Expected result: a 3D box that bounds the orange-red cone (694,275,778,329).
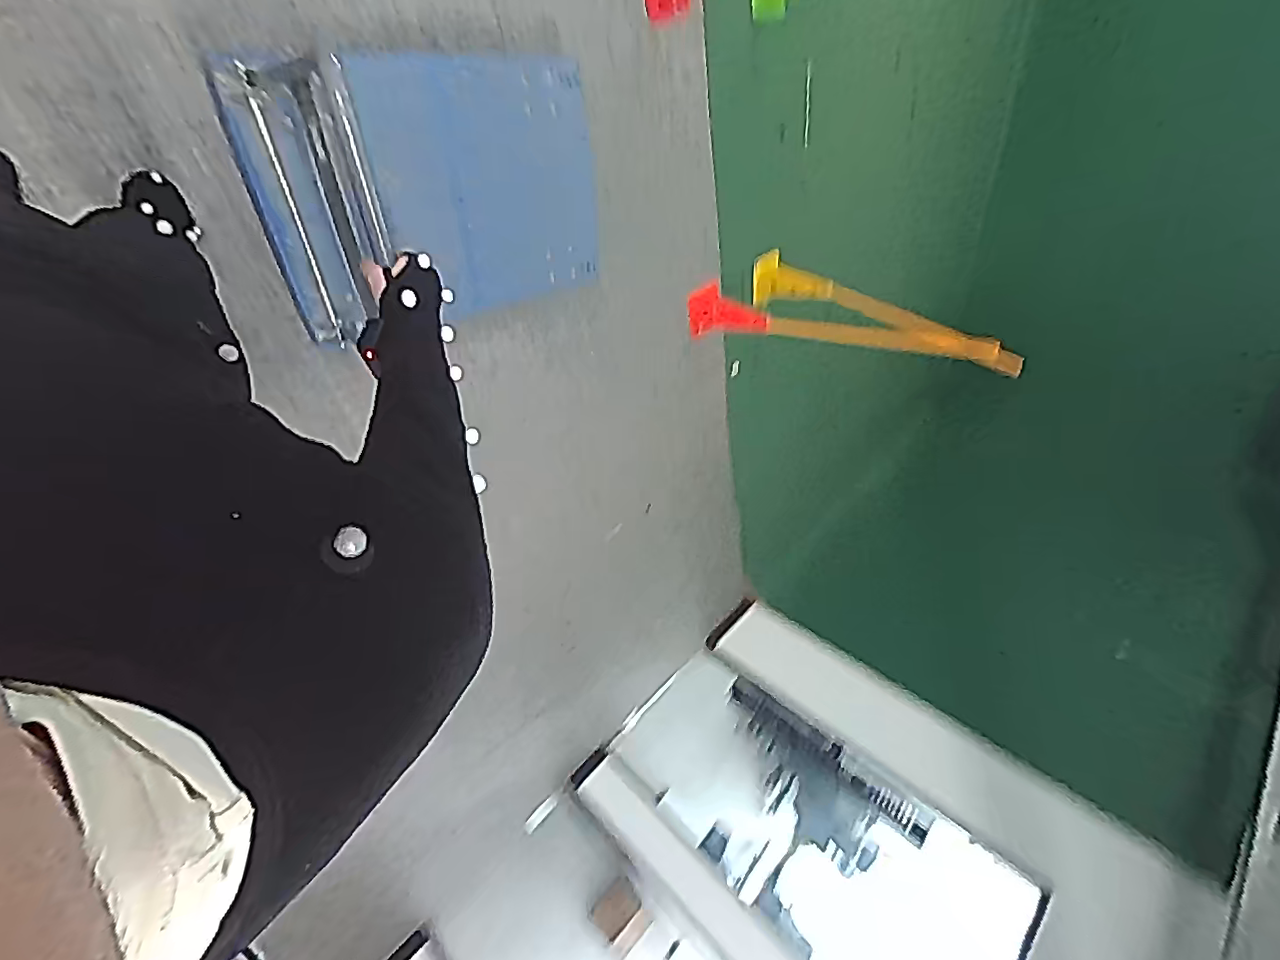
[{"bbox_3d":[0.430,-0.731,2.300,0.199,0.360,0.198,-38,136,-29],"label":"orange-red cone"}]
